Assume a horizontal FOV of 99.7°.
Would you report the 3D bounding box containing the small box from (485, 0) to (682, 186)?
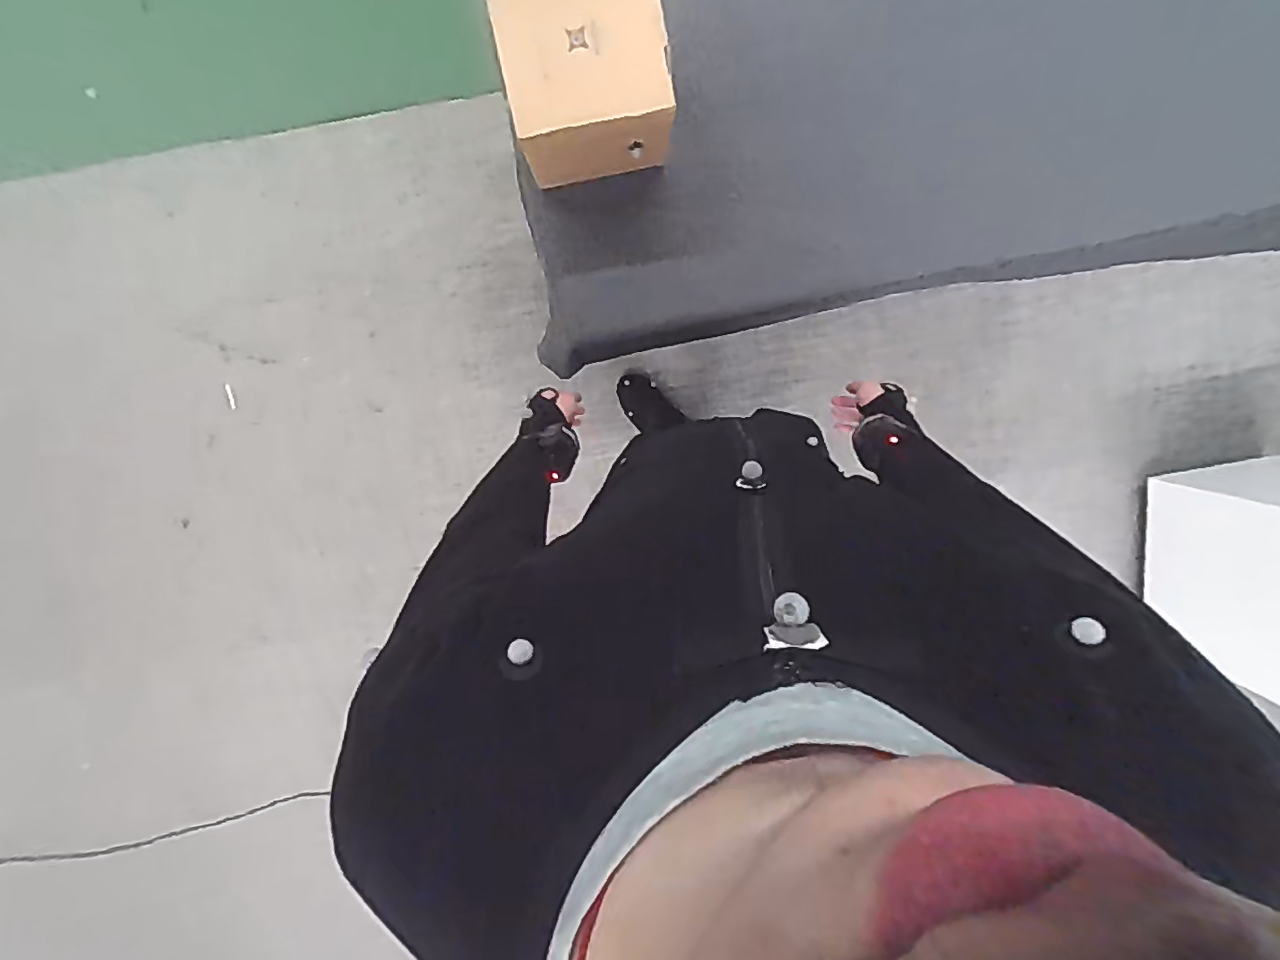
[{"bbox_3d":[-0.064,-0.462,0.614,0.179,0.176,0.168,-13,101,-1],"label":"small box"}]
